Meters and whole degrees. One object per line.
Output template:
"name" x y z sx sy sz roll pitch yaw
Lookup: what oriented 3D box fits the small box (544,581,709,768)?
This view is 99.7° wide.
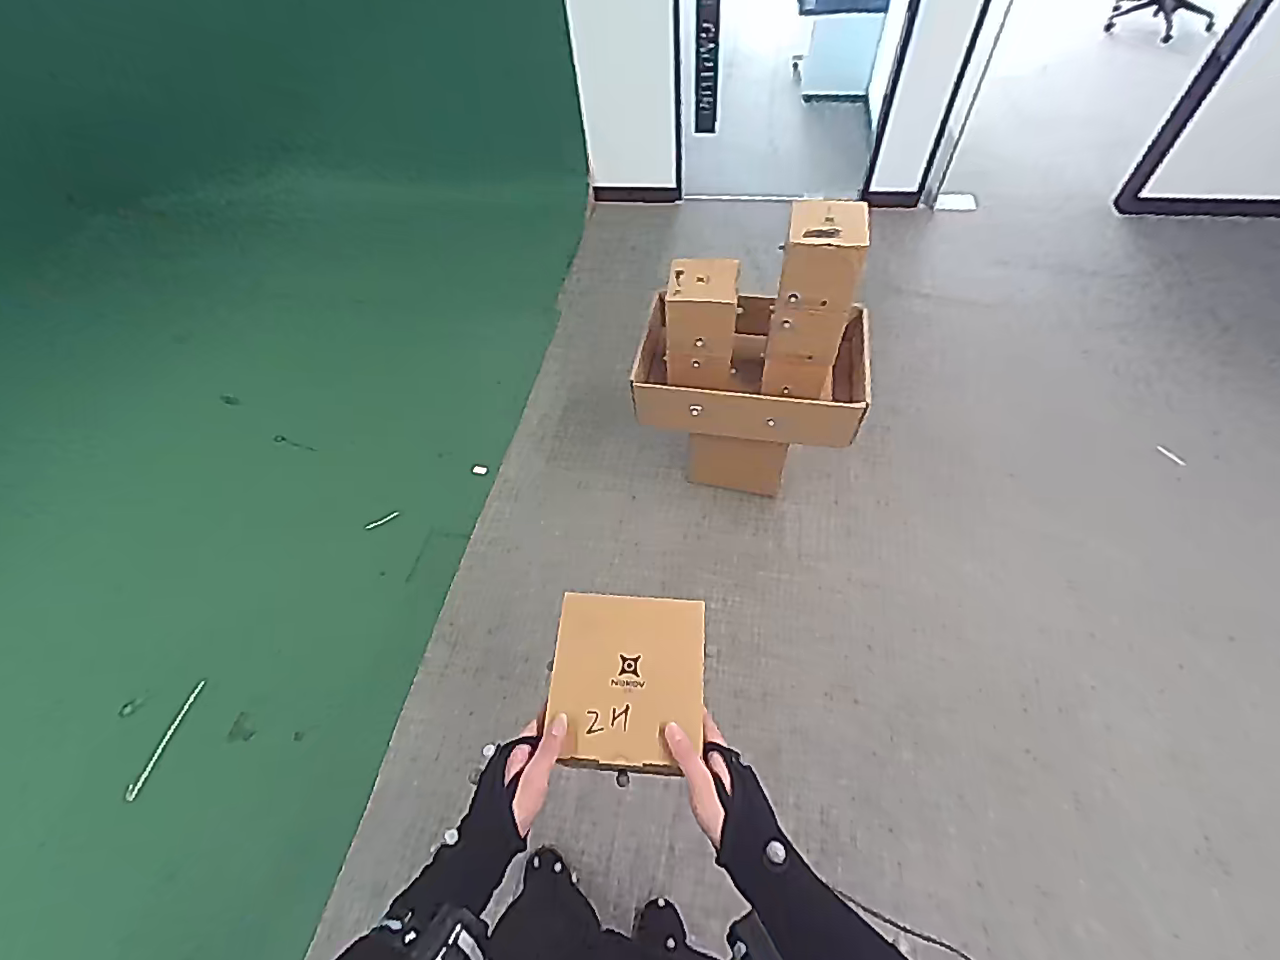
"small box" -0.009 0.239 0.654 0.168 0.176 0.179 4 59 4

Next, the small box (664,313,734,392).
"small box" 0.168 -0.372 1.549 0.179 0.176 0.168 7 57 8

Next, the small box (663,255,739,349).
"small box" 0.158 -0.462 1.411 0.179 0.176 0.168 5 57 8

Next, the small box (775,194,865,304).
"small box" 0.406 -0.524 1.235 0.168 0.176 0.179 8 56 9
